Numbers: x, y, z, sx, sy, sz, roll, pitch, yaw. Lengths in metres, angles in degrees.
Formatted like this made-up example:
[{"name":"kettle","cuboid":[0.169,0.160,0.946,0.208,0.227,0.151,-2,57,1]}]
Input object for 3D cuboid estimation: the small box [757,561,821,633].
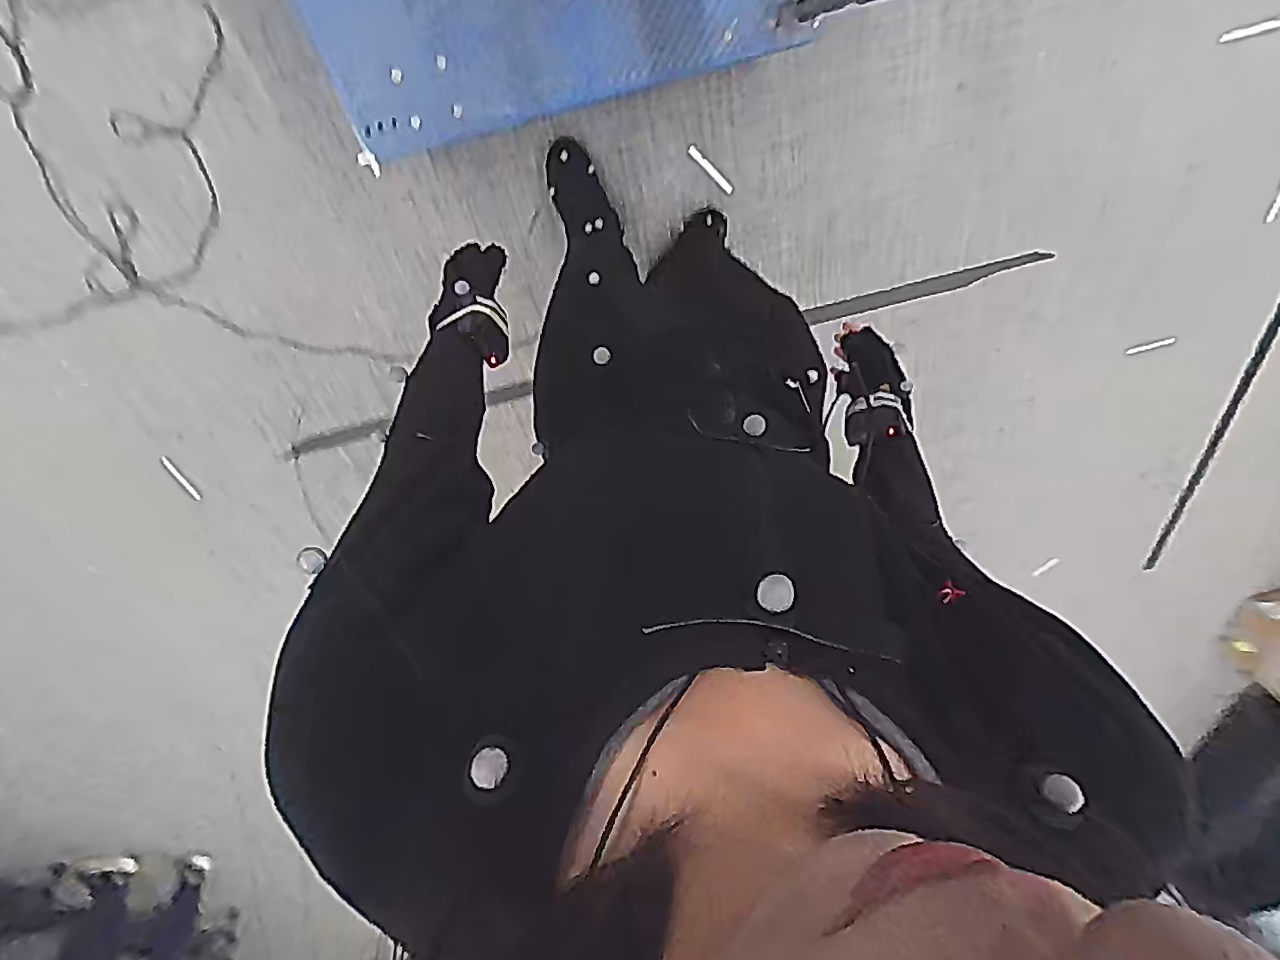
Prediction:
[{"name":"small box","cuboid":[0.560,0.444,2.060,0.179,0.176,0.168,-26,126,8]}]
